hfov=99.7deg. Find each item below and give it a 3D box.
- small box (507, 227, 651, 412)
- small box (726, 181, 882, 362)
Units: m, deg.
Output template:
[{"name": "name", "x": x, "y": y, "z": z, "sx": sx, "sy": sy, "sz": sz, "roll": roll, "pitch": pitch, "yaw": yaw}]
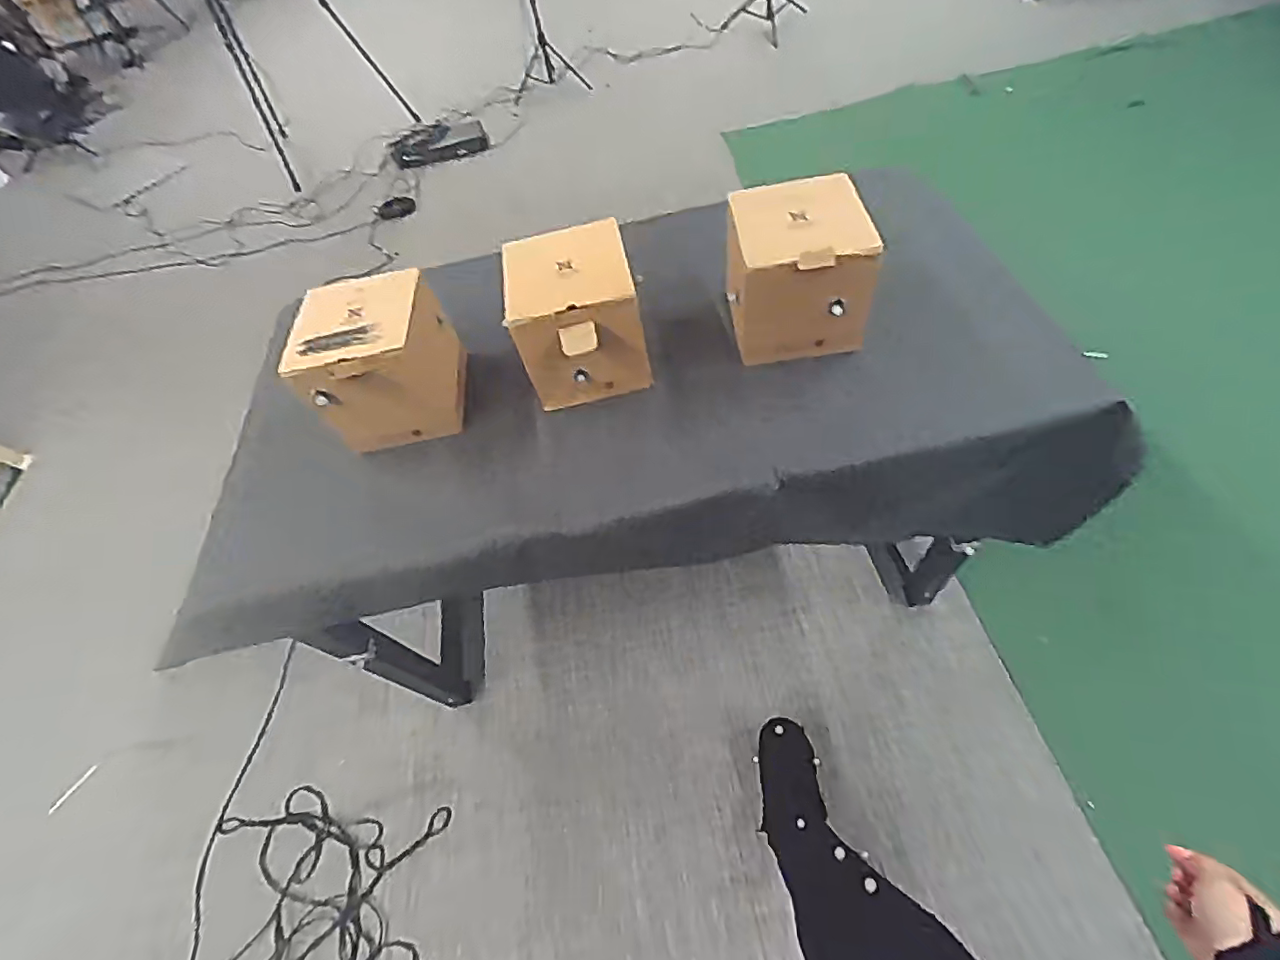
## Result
[{"name": "small box", "x": -0.084, "y": -0.227, "z": 0.778, "sx": 0.168, "sy": 0.176, "sz": 0.179, "roll": -13, "pitch": 56, "yaw": 1}, {"name": "small box", "x": 0.217, "y": -0.283, "z": 0.762, "sx": 0.168, "sy": 0.176, "sz": 0.179, "roll": -7, "pitch": 55, "yaw": 4}]
